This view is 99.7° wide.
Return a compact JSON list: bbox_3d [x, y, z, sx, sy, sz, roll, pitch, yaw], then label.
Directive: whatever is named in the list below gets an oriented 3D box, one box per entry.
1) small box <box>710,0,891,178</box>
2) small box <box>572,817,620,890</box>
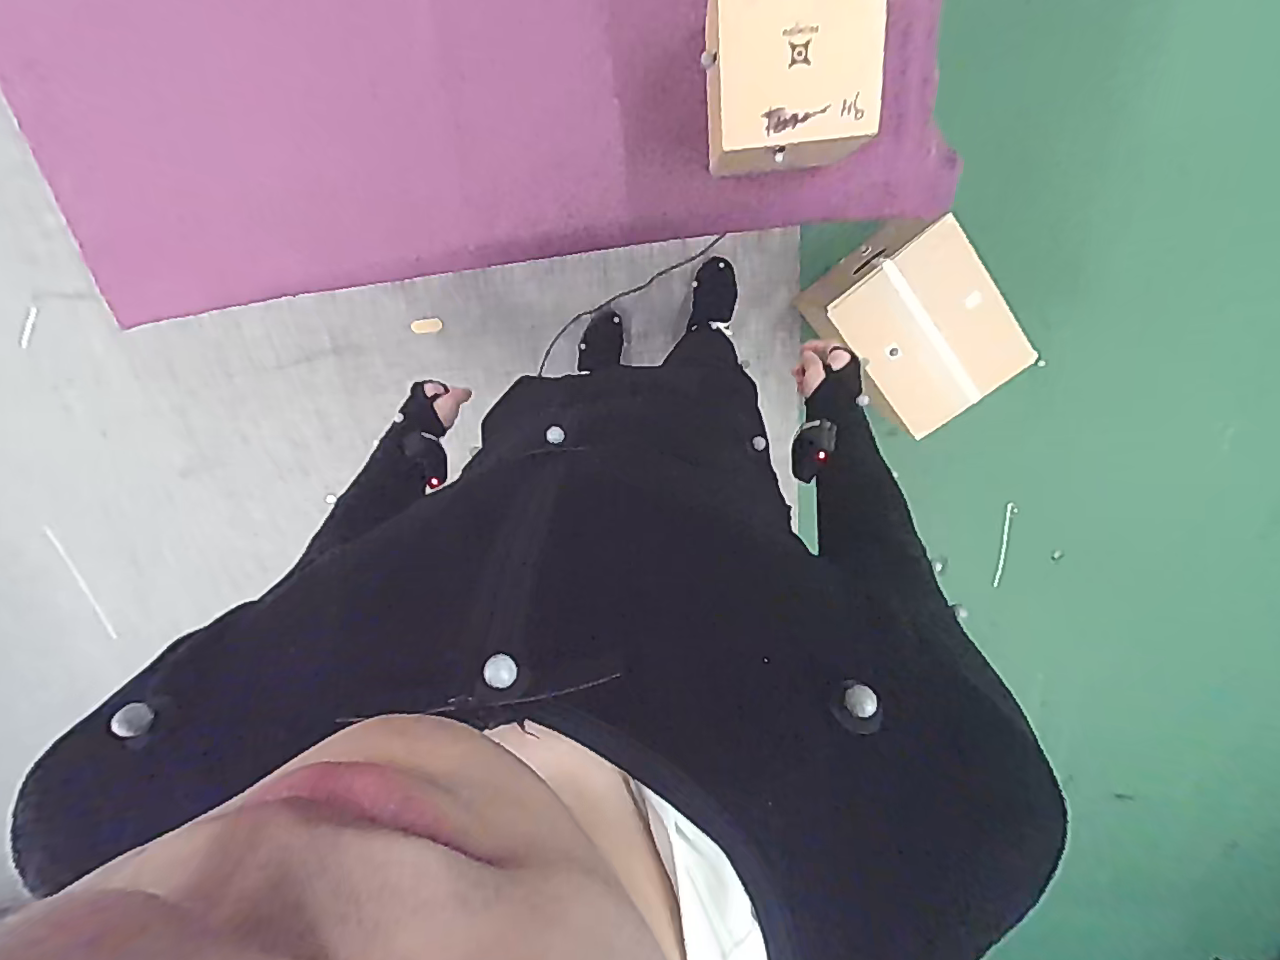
[{"bbox_3d":[0.170,-0.465,0.617,0.168,0.176,0.179,-3,110,5],"label":"small box"},{"bbox_3d":[-0.172,1.500,2.171,0.168,0.176,0.179,1,111,5],"label":"small box"}]
